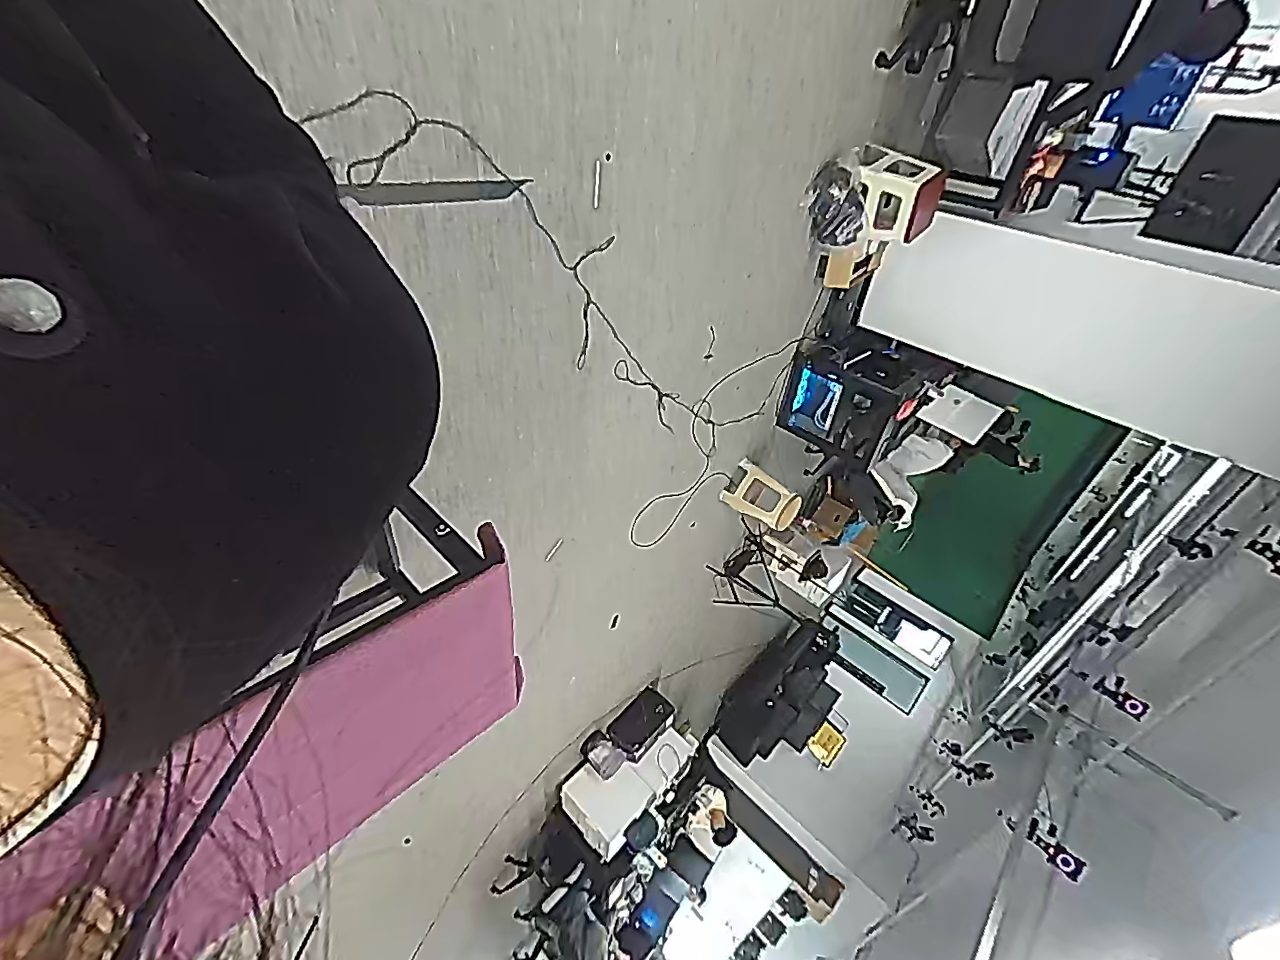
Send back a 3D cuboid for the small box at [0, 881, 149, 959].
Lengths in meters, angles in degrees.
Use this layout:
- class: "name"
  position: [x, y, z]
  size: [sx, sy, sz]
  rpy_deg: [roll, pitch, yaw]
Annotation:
- class: "small box"
  position: [-0.877, 0.768, 0.814]
  size: [0.179, 0.176, 0.168]
  rpy_deg: [-29, 141, -40]
